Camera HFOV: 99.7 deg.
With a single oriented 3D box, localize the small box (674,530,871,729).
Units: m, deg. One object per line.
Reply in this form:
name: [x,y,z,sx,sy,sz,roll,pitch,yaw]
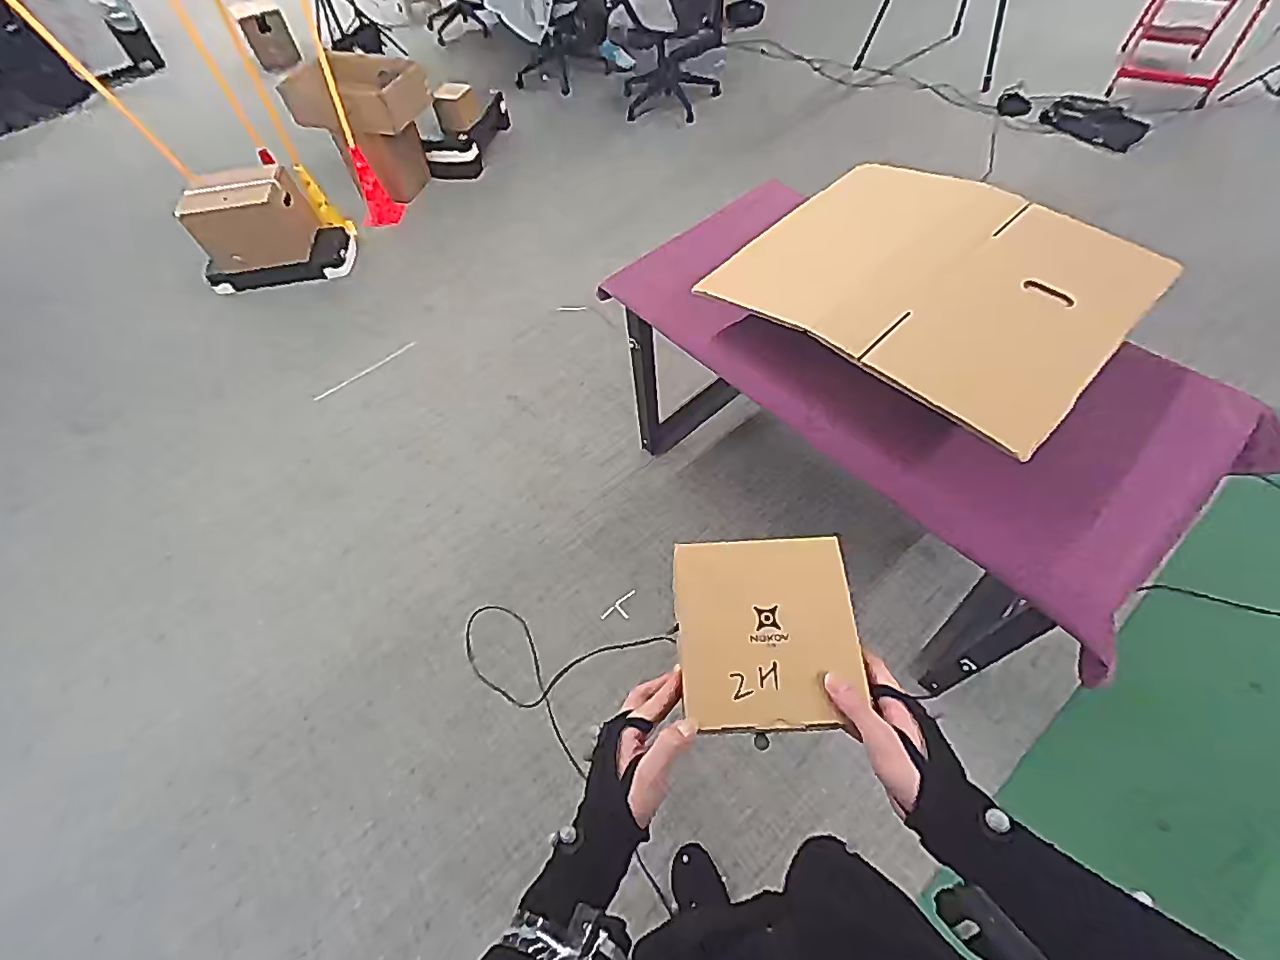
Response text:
small box: [0.121,0.166,0.576,0.168,0.176,0.179,-3,64,3]
